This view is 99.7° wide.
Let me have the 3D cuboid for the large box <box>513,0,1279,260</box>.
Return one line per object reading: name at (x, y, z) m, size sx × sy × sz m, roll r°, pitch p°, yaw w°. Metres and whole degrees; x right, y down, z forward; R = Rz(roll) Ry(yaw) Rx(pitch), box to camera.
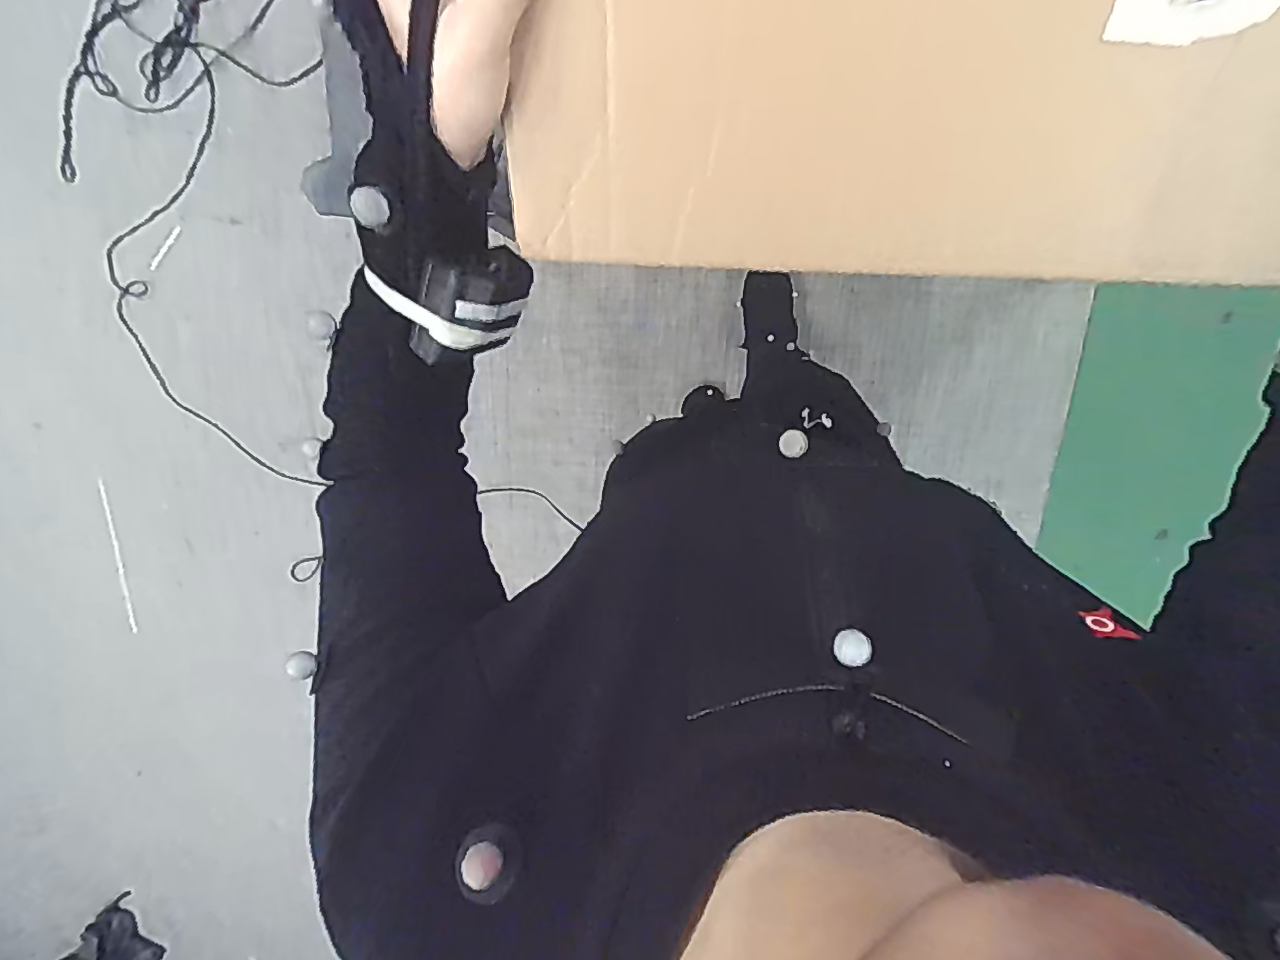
large box at (0.151, -0.324, 0.307) m, size 0.408 × 0.320 × 0.320 m, roll 3°, pitch 127°, yaw 3°
